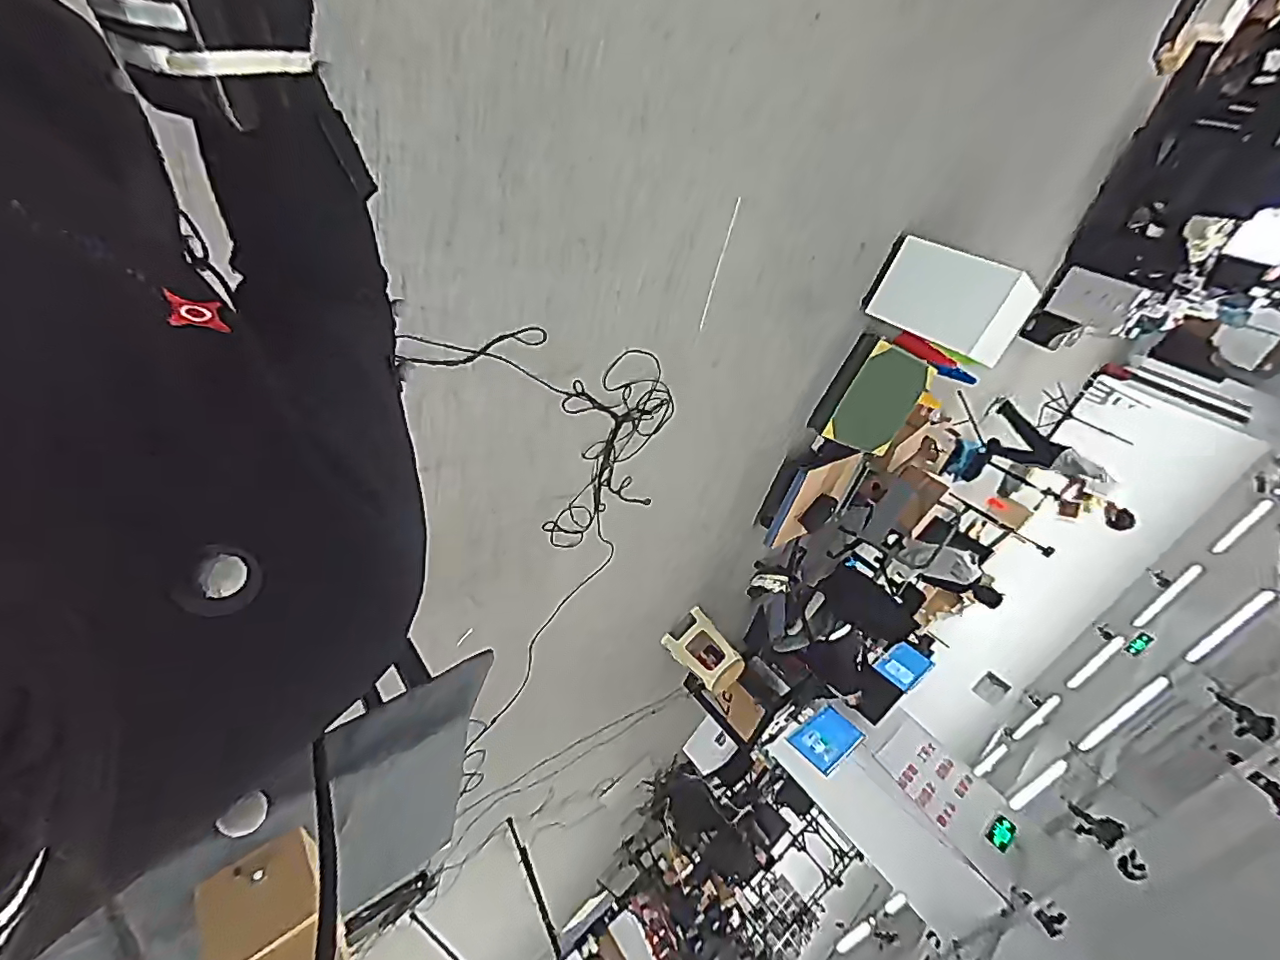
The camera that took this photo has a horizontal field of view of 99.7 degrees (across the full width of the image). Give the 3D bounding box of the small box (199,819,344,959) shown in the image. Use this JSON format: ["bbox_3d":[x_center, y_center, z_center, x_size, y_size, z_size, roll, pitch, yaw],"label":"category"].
[{"bbox_3d":[-0.677,0.776,1.002,0.168,0.176,0.179,-24,139,-33],"label":"small box"}]

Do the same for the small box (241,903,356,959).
[{"bbox_3d":[-0.581,0.879,0.920,0.179,0.176,0.168,-20,136,-36],"label":"small box"}]
